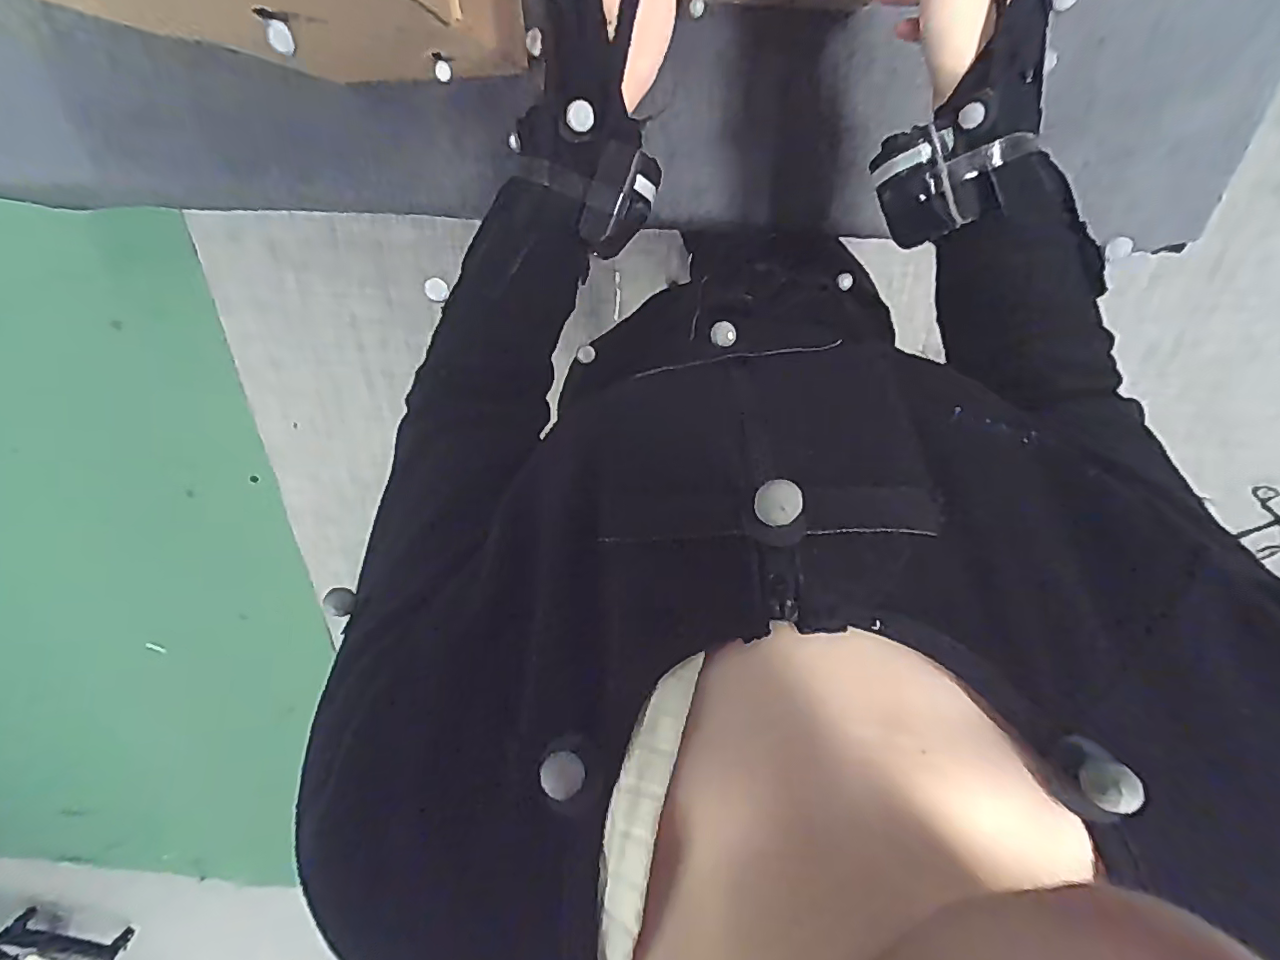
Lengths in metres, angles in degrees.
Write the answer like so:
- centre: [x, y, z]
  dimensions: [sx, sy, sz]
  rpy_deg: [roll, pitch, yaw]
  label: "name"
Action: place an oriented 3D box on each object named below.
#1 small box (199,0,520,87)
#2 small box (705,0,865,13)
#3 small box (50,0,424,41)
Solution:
- centre: [-0.189, -0.383, 0.367]
  dimensions: [0.179, 0.176, 0.168]
  rpy_deg: [0, 117, 5]
  label: "small box"
- centre: [0.094, -0.408, 0.320]
  dimensions: [0.168, 0.176, 0.179]
  rpy_deg: [4, 120, 1]
  label: "small box"
- centre: [-0.204, -0.305, 0.222]
  dimensions: [0.179, 0.176, 0.168]
  rpy_deg: [0, 118, 4]
  label: "small box"
